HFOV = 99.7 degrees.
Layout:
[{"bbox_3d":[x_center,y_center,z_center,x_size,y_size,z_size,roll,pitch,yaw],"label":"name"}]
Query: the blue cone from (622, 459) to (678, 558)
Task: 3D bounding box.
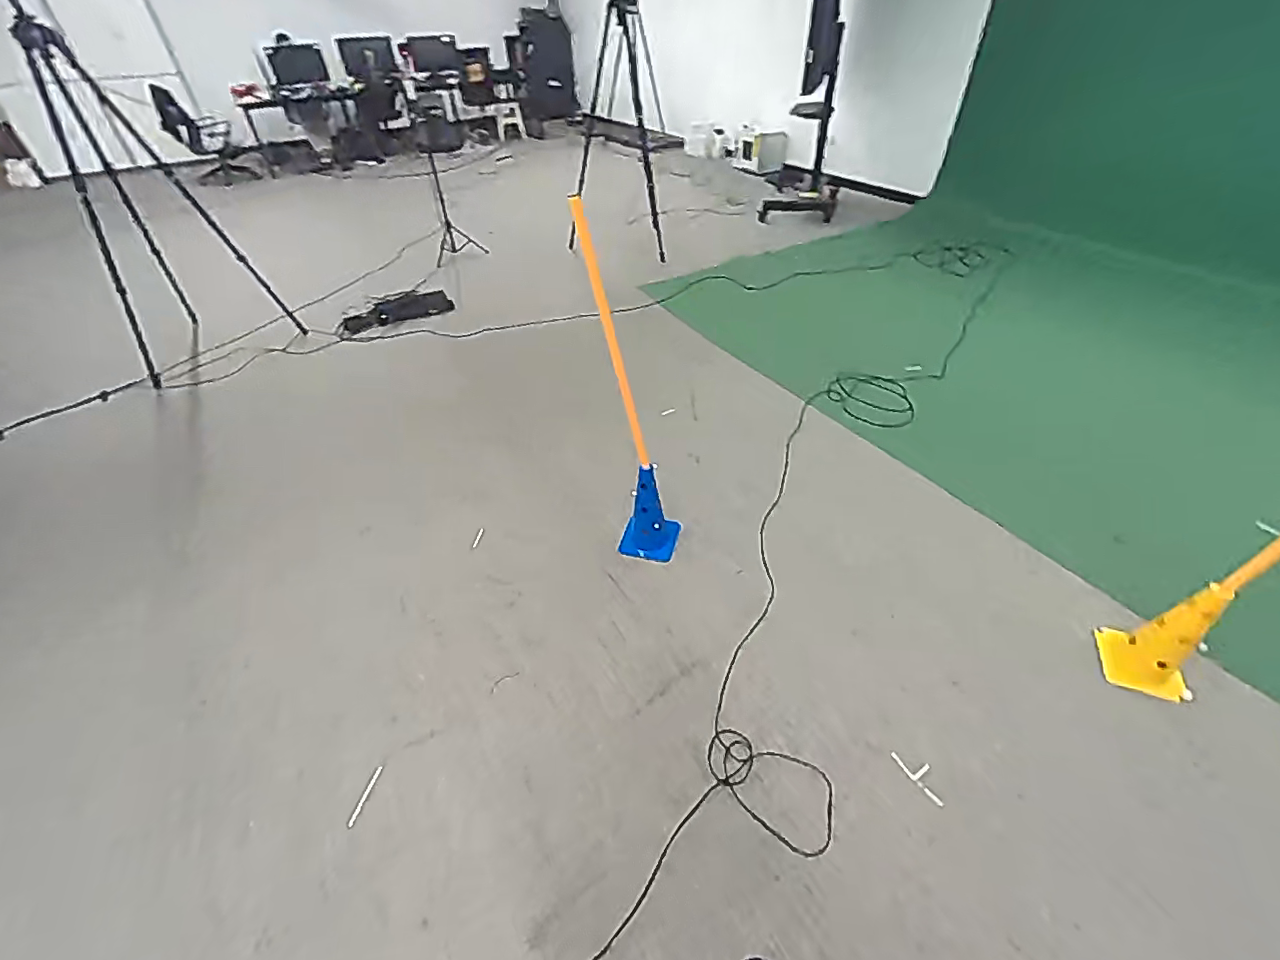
[{"bbox_3d":[0.026,0.087,1.877,0.193,0.380,0.192,7,44,13],"label":"blue cone"}]
